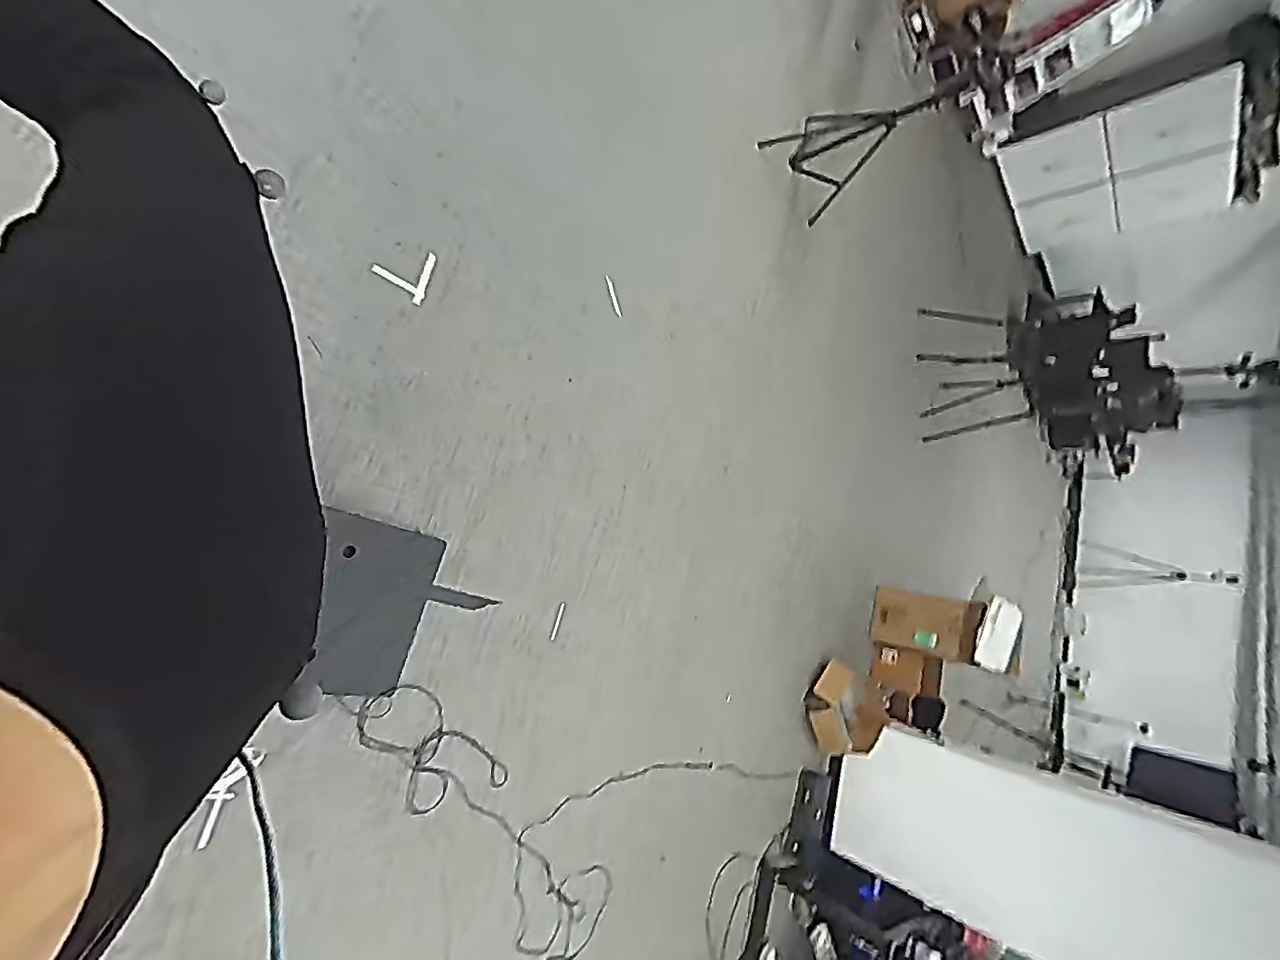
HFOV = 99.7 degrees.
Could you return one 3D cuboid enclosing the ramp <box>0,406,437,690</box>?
[{"bbox_3d":[-0.978,0.244,1.302,0.991,0.206,0.509,24,73,-42],"label":"ramp"}]
